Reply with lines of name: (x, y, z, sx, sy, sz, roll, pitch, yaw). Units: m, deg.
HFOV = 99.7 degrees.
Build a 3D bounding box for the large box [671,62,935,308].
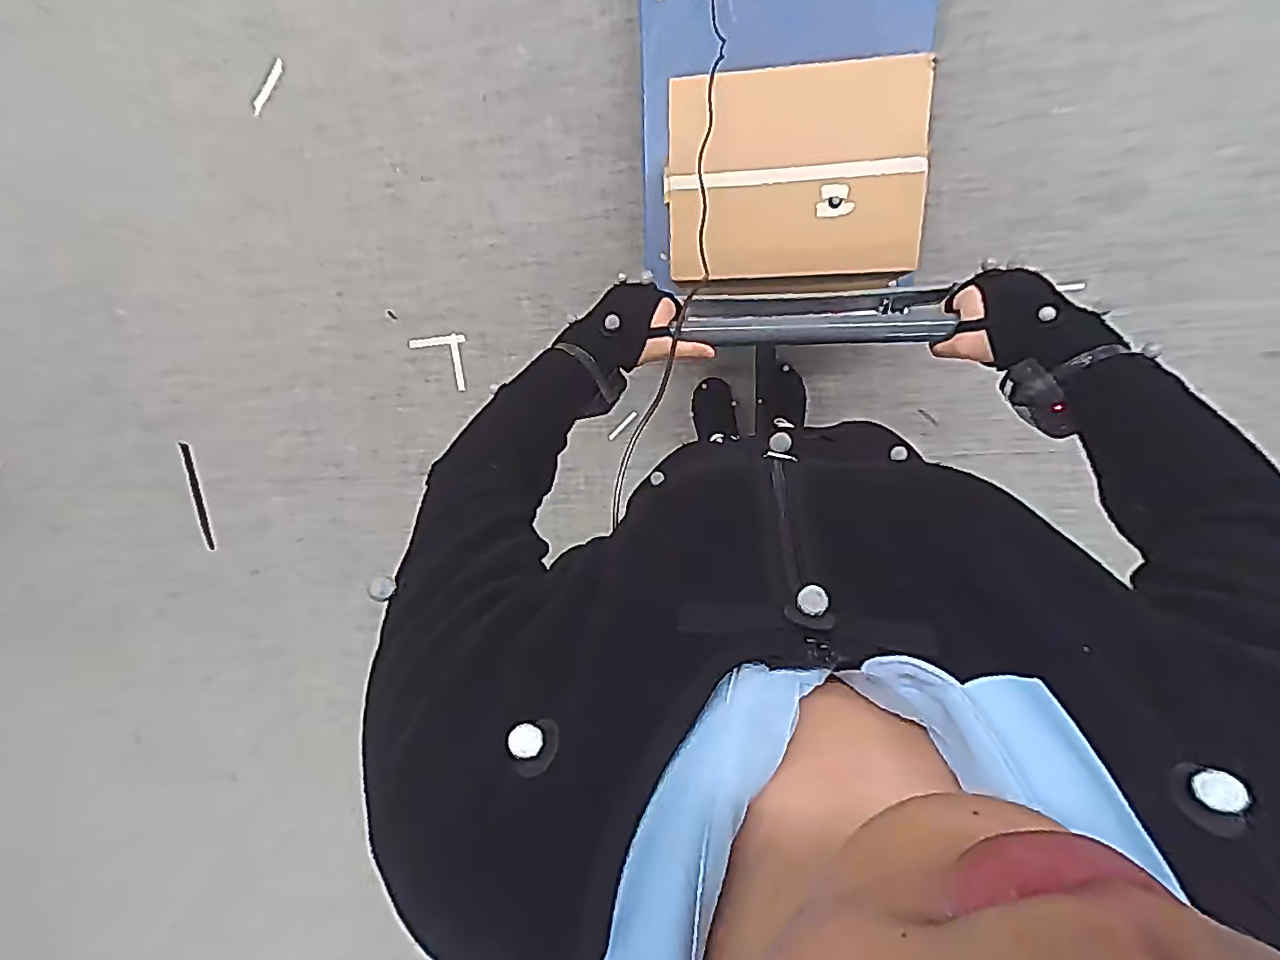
large box: (0.270, -0.505, 1.010, 0.408, 0.320, 0.320, 1, 103, 8)
